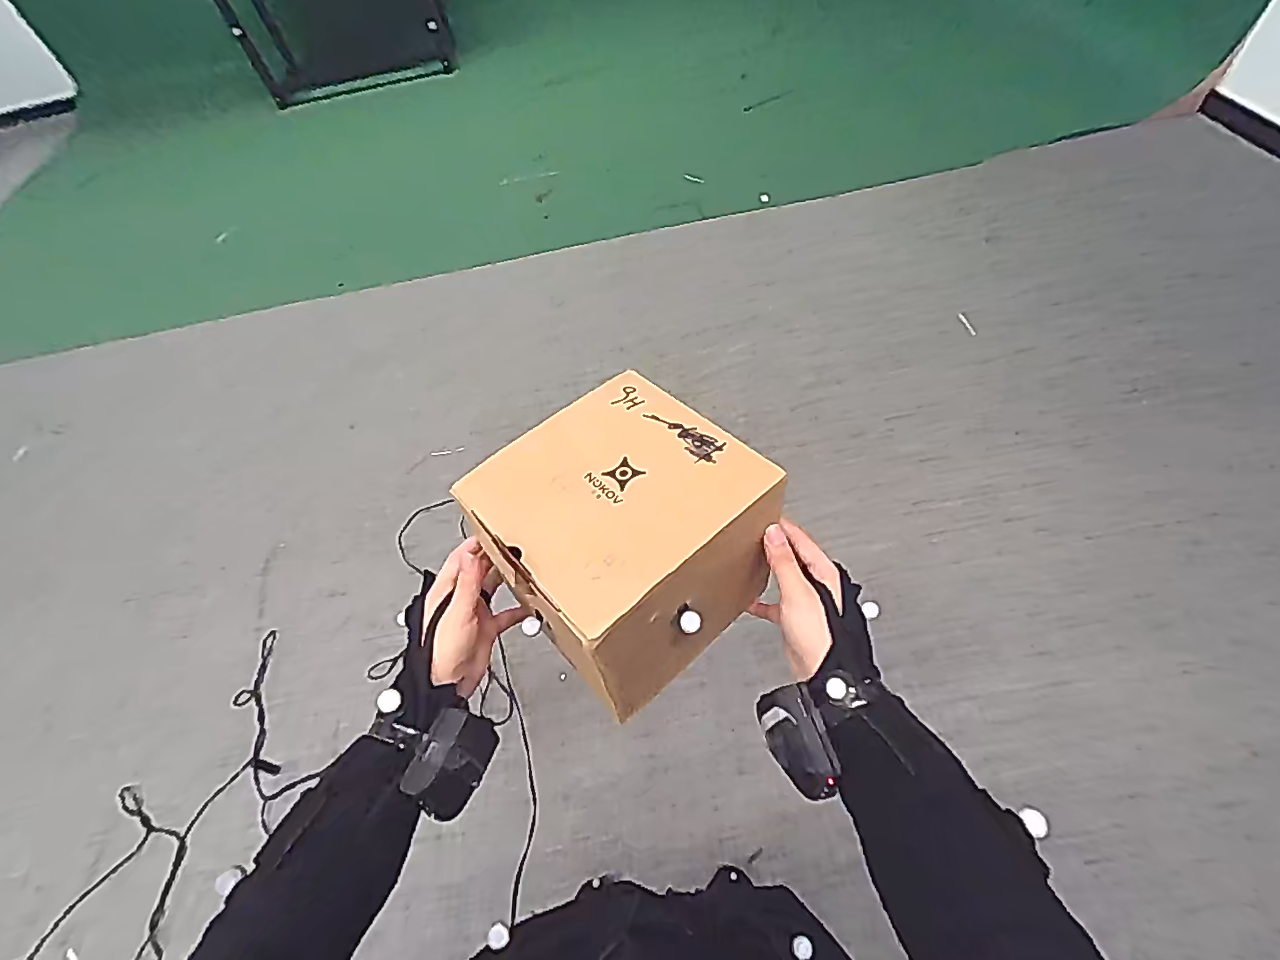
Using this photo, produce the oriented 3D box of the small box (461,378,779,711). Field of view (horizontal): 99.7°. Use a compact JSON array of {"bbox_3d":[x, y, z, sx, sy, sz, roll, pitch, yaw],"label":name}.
[{"bbox_3d":[-0.008,0.055,0.446,0.179,0.176,0.168,-38,57,-21],"label":"small box"}]
